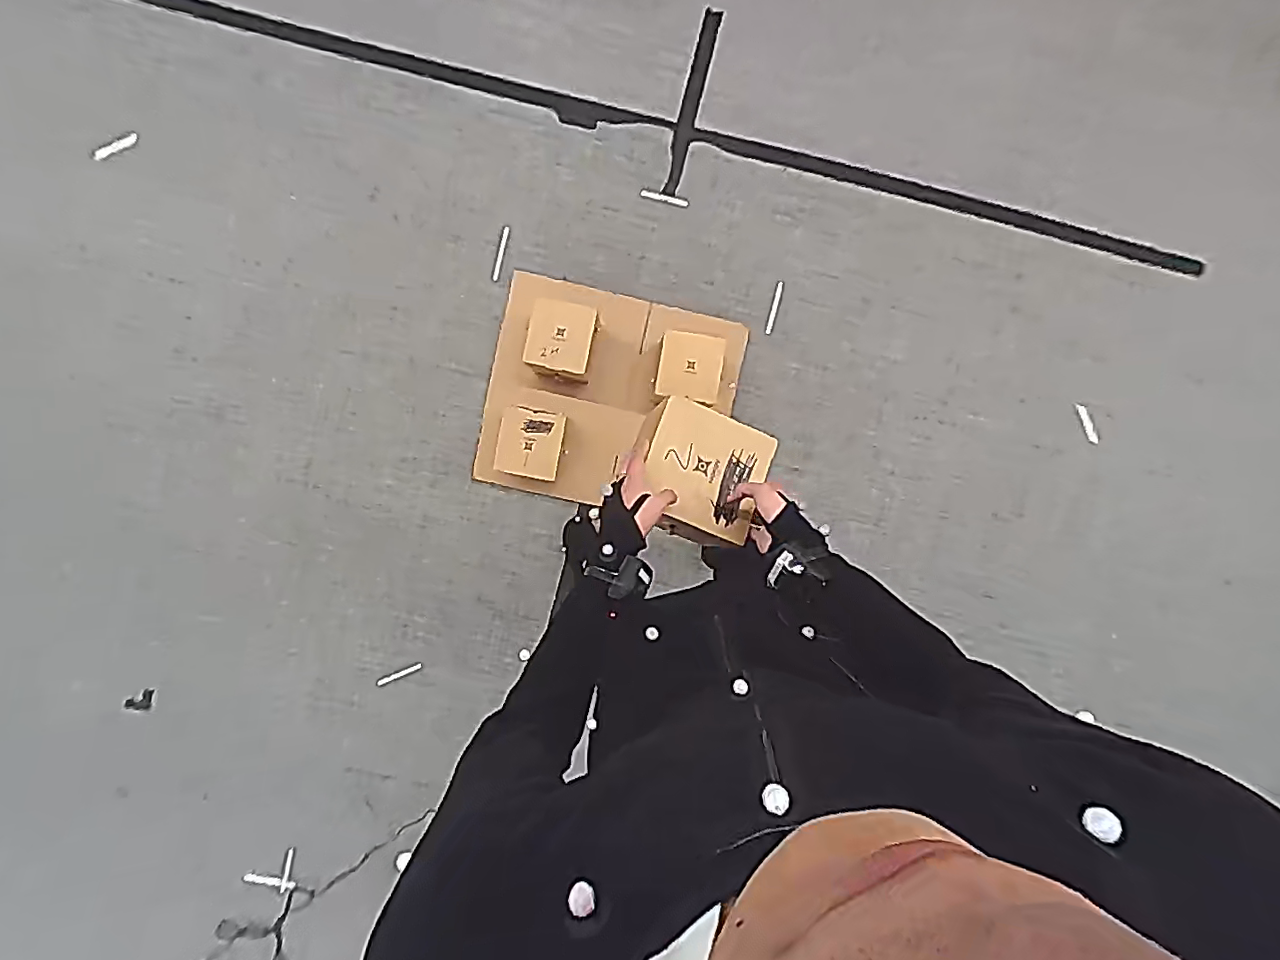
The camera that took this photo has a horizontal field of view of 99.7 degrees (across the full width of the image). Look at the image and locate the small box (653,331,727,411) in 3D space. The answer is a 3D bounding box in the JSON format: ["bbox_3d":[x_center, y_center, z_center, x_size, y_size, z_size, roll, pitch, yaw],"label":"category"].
[{"bbox_3d":[0.130,-0.292,1.484,0.168,0.176,0.179,9,93,-2],"label":"small box"}]

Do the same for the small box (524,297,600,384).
[{"bbox_3d":[-0.204,-0.370,1.464,0.168,0.176,0.179,12,93,-2],"label":"small box"}]

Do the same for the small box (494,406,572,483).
[{"bbox_3d":[-0.285,-0.096,1.478,0.168,0.176,0.179,12,94,-1],"label":"small box"}]
